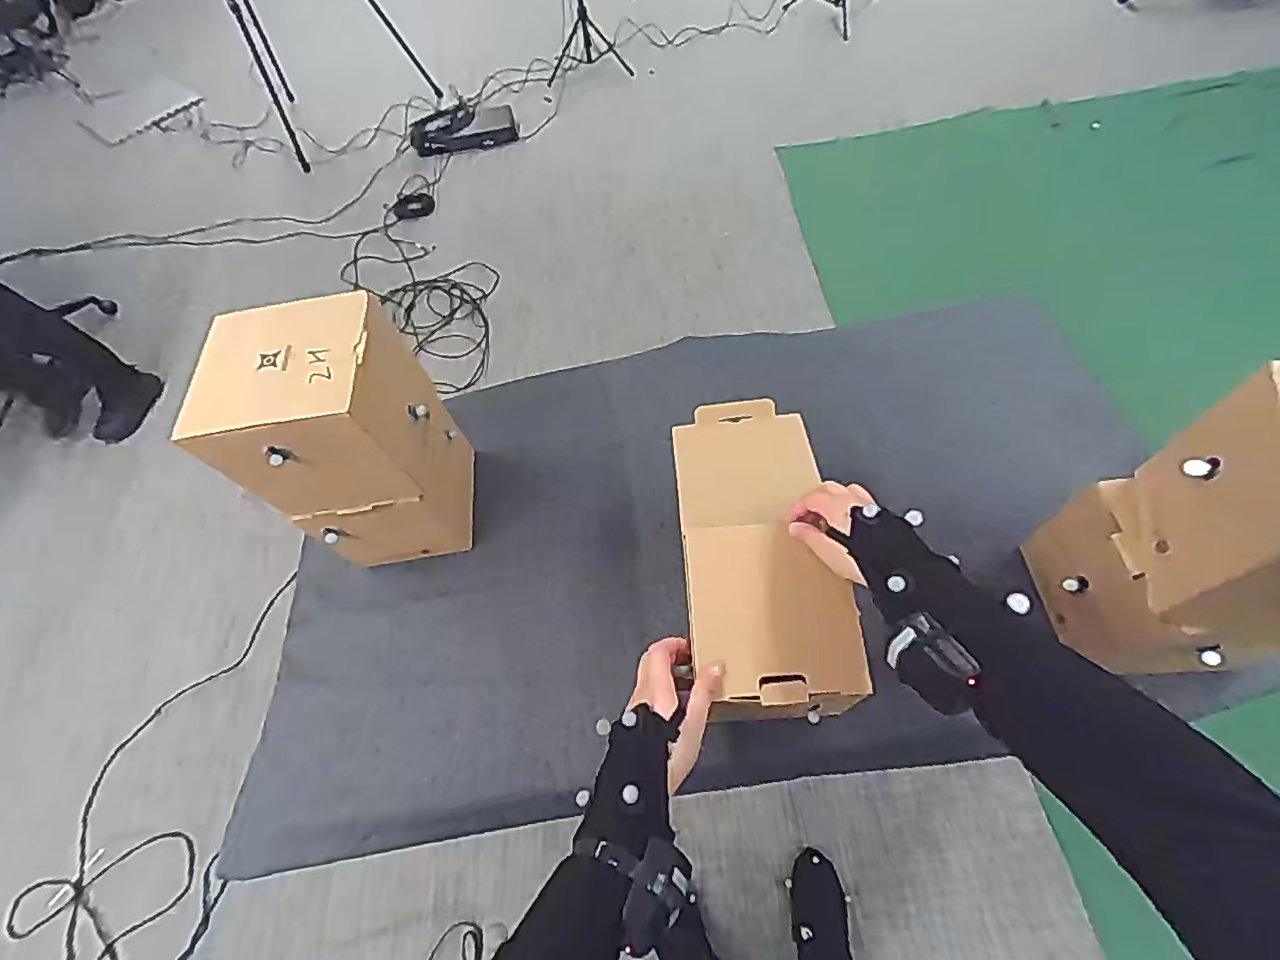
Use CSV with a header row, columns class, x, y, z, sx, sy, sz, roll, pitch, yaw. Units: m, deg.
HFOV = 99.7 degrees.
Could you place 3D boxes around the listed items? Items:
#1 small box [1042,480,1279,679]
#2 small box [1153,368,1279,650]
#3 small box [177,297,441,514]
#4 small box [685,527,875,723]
class,x,y,z,sx,sy,sz,roll,pitch,yaw
small box,0.575,0.111,0.579,0.179,0.176,0.168,-5,58,6
small box,0.561,0.039,0.432,0.179,0.176,0.168,15,61,15
small box,-0.350,-0.074,0.612,0.179,0.176,0.168,-9,61,2
small box,0.142,0.171,0.606,0.168,0.176,0.179,-6,59,5
